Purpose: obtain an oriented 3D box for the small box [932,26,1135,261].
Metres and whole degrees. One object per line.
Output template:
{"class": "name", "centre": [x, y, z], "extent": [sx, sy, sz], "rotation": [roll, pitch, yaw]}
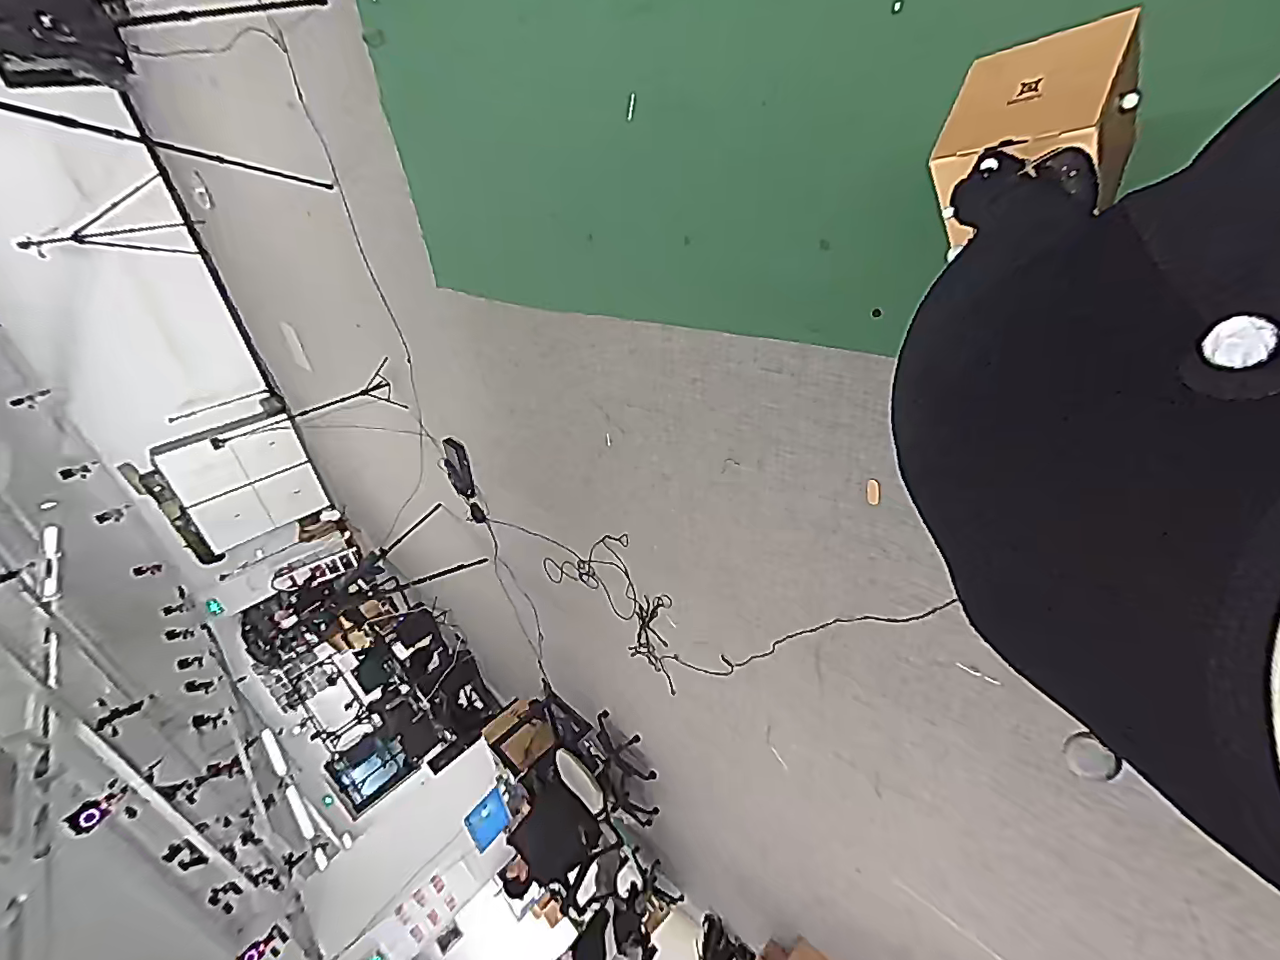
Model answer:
{"class": "small box", "centre": [0.507, -0.416, 0.700], "extent": [0.168, 0.179, 0.176], "rotation": [15, 163, 45]}
